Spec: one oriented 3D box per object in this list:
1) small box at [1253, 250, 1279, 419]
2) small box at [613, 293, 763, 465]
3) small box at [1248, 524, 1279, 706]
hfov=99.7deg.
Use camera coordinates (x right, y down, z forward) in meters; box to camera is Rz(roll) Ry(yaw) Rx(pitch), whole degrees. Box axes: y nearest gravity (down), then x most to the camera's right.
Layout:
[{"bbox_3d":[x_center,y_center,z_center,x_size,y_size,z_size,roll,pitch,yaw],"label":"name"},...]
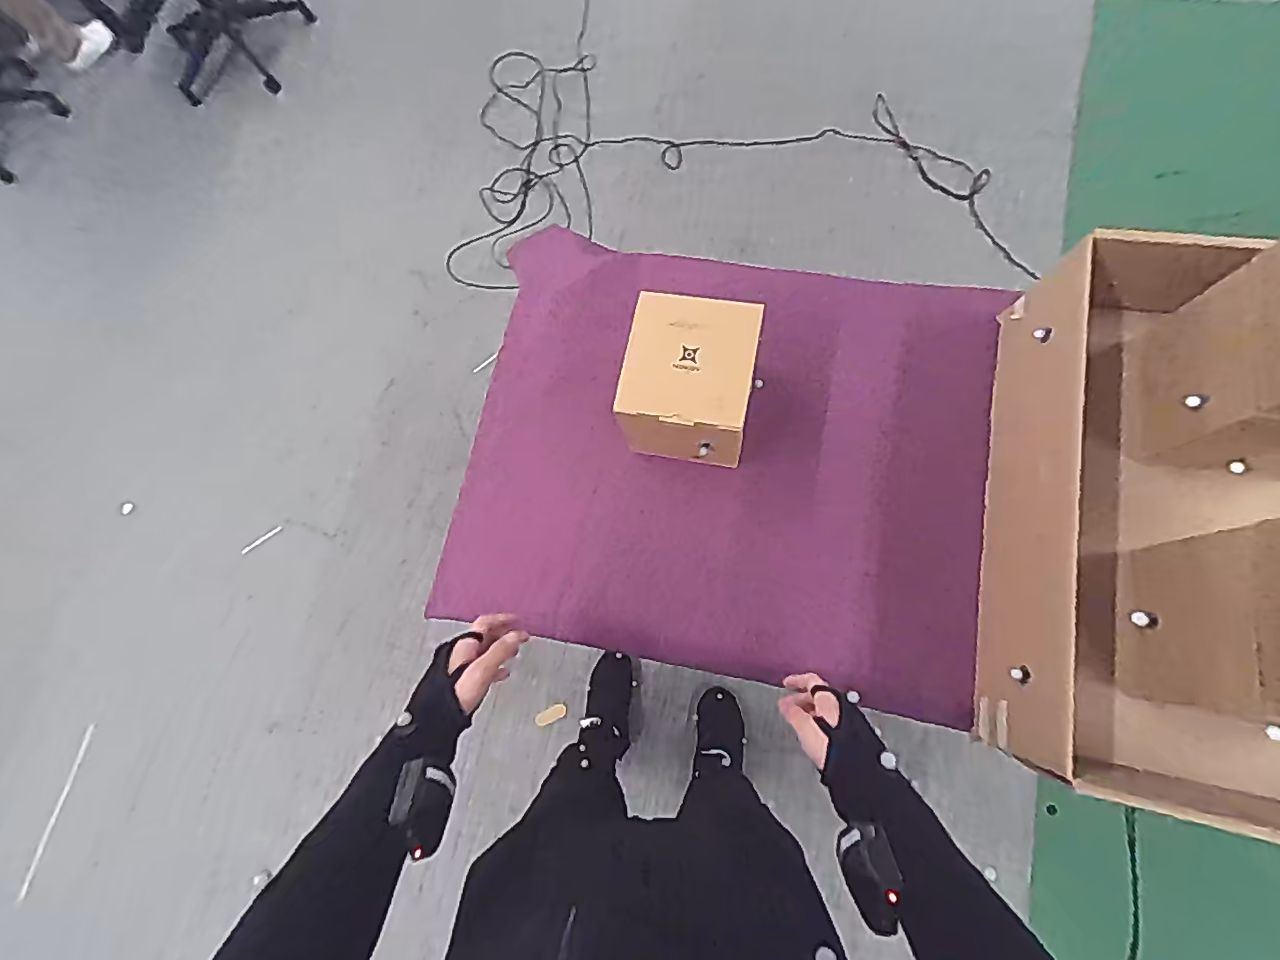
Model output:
[{"bbox_3d":[0.687,-0.153,0.456,0.168,0.176,0.179,8,78,11],"label":"small box"},{"bbox_3d":[0.071,-0.133,0.762,0.168,0.176,0.179,10,77,9],"label":"small box"},{"bbox_3d":[0.619,0.117,0.397,0.168,0.176,0.179,9,75,12],"label":"small box"}]
